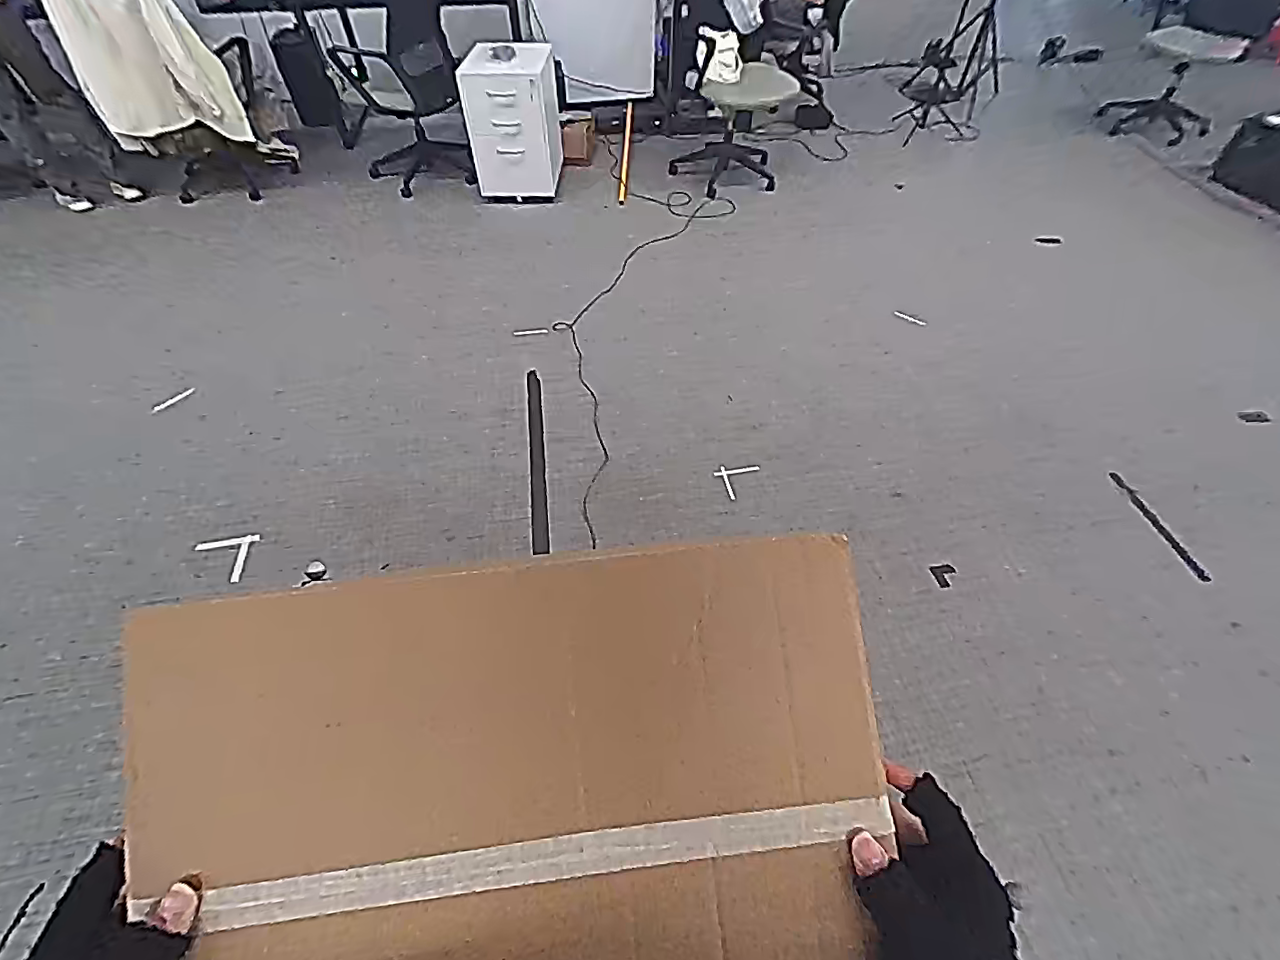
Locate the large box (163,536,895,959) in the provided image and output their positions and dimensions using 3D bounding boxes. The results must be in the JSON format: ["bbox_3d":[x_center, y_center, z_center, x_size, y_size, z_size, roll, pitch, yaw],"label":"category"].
[{"bbox_3d":[-0.068,0.225,0.452,0.408,0.320,0.320,-6,85,-2],"label":"large box"}]
